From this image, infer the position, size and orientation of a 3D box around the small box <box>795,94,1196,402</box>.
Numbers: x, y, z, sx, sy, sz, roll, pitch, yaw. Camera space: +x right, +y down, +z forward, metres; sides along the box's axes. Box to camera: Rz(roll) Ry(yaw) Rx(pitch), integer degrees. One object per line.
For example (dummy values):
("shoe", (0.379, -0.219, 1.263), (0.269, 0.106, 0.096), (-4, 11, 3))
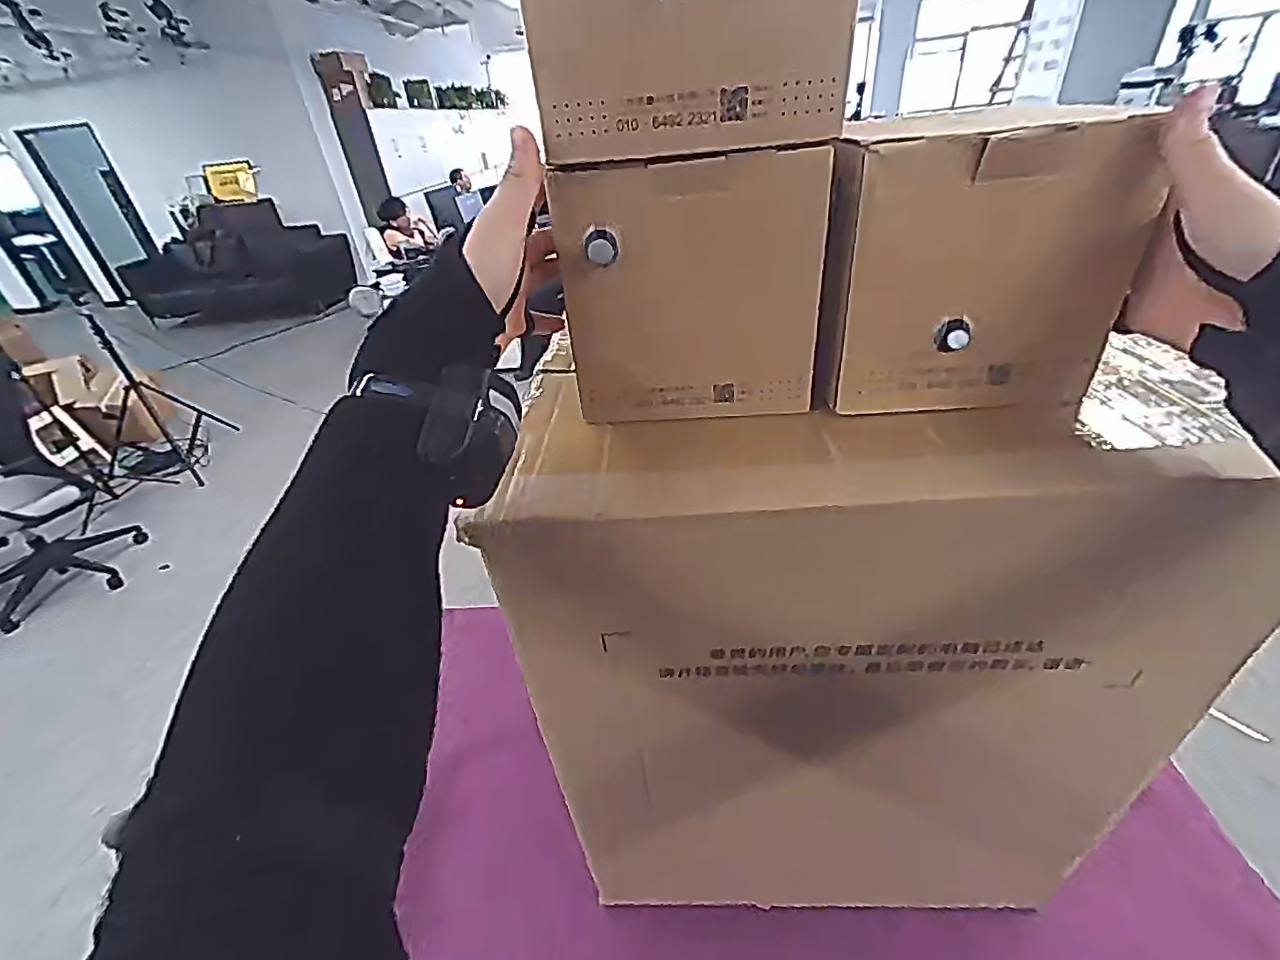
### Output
("small box", (0.215, -0.170, 0.396), (0.168, 0.176, 0.179), (-3, 35, 5))

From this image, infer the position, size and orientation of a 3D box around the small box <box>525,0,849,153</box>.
("small box", (0.022, -0.298, 0.320), (0.168, 0.176, 0.179), (-4, 34, 1))
